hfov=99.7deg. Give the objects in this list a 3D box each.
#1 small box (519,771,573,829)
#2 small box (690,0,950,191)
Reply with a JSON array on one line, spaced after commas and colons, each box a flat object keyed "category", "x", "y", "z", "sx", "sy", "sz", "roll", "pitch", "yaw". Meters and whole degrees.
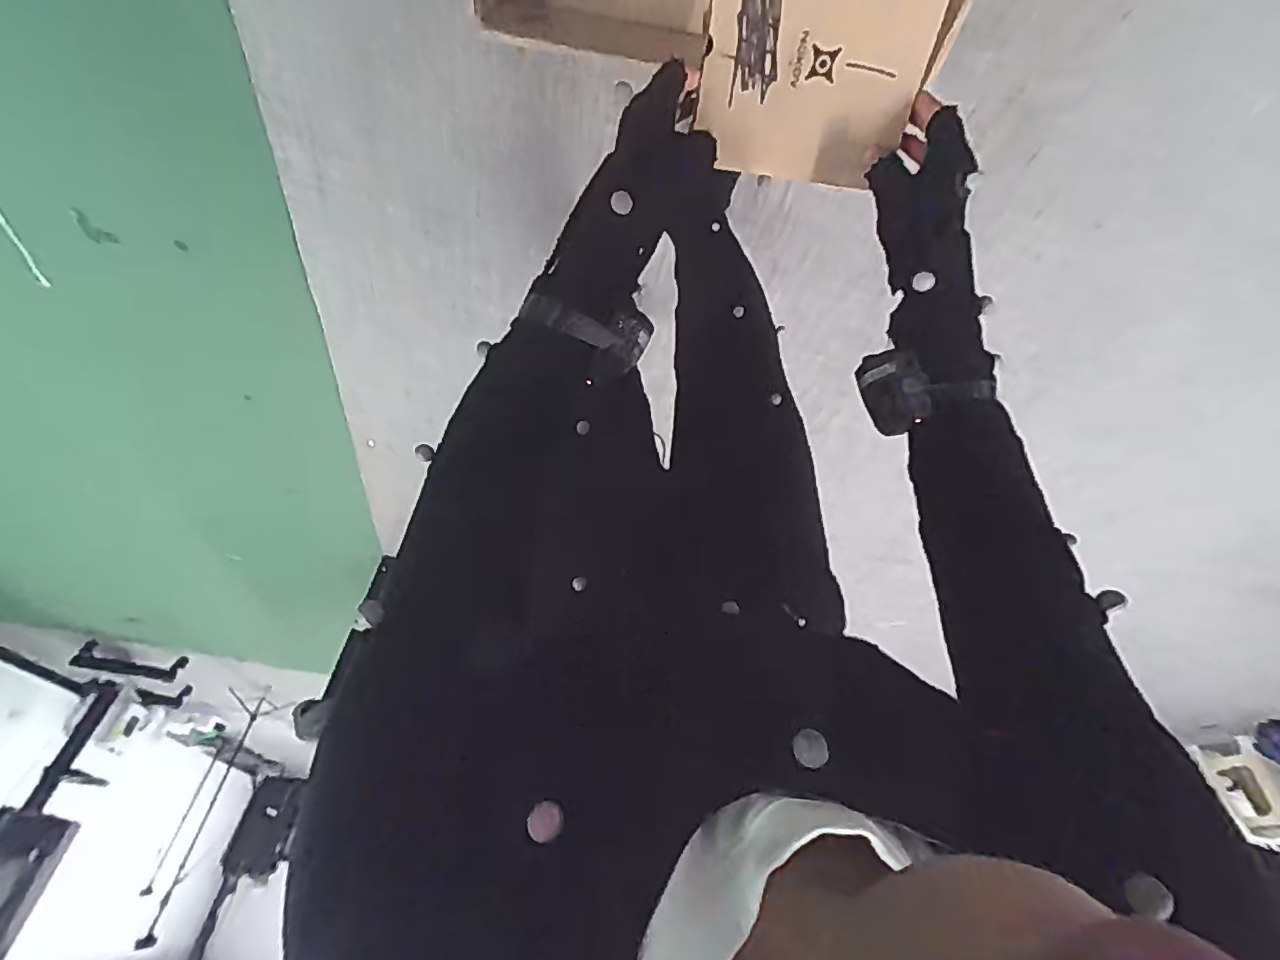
[{"category": "small box", "x": -0.364, "y": 1.262, "z": 2.133, "sx": 0.179, "sy": 0.176, "sz": 0.168, "roll": 7, "pitch": 142, "yaw": 2}, {"category": "small box", "x": 0.146, "y": -0.376, "z": 0.491, "sx": 0.179, "sy": 0.176, "sz": 0.168, "roll": 8, "pitch": 127, "yaw": 0}]
